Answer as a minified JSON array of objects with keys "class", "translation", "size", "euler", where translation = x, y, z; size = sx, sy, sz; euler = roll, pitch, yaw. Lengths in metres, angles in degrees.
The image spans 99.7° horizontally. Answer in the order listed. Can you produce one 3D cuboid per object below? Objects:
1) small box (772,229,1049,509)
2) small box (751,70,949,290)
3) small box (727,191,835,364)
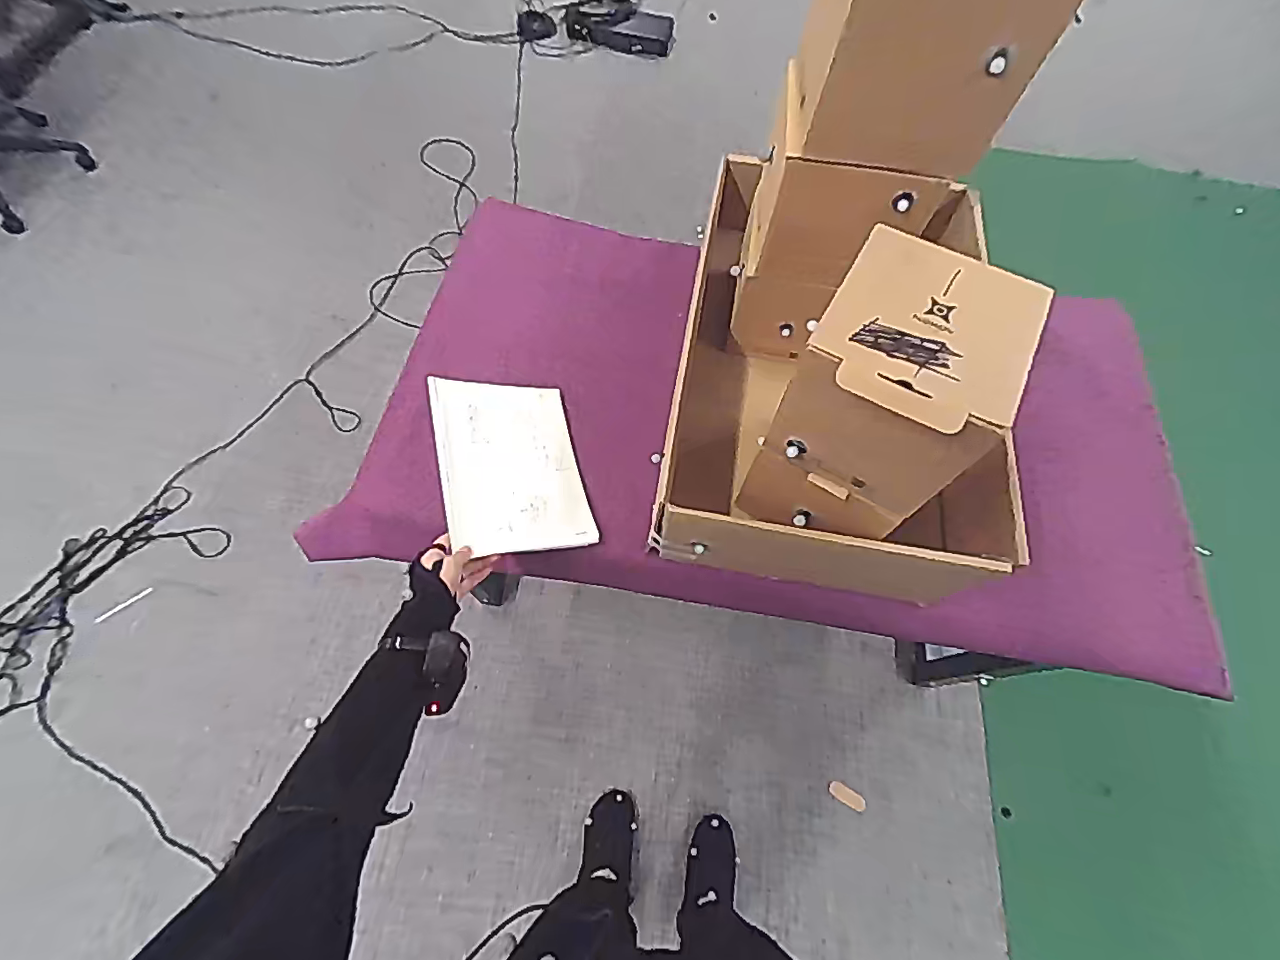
[{"class":"small box","translation":[0.245,-0.099,0.529],"size":[0.168,0.176,0.179],"euler":[28,65,13]},{"class":"small box","translation":[0.238,-0.352,0.656],"size":[0.179,0.176,0.168],"euler":[8,66,2]},{"class":"small box","translation":[0.229,-0.289,0.805],"size":[0.168,0.176,0.179],"euler":[10,66,3]}]
